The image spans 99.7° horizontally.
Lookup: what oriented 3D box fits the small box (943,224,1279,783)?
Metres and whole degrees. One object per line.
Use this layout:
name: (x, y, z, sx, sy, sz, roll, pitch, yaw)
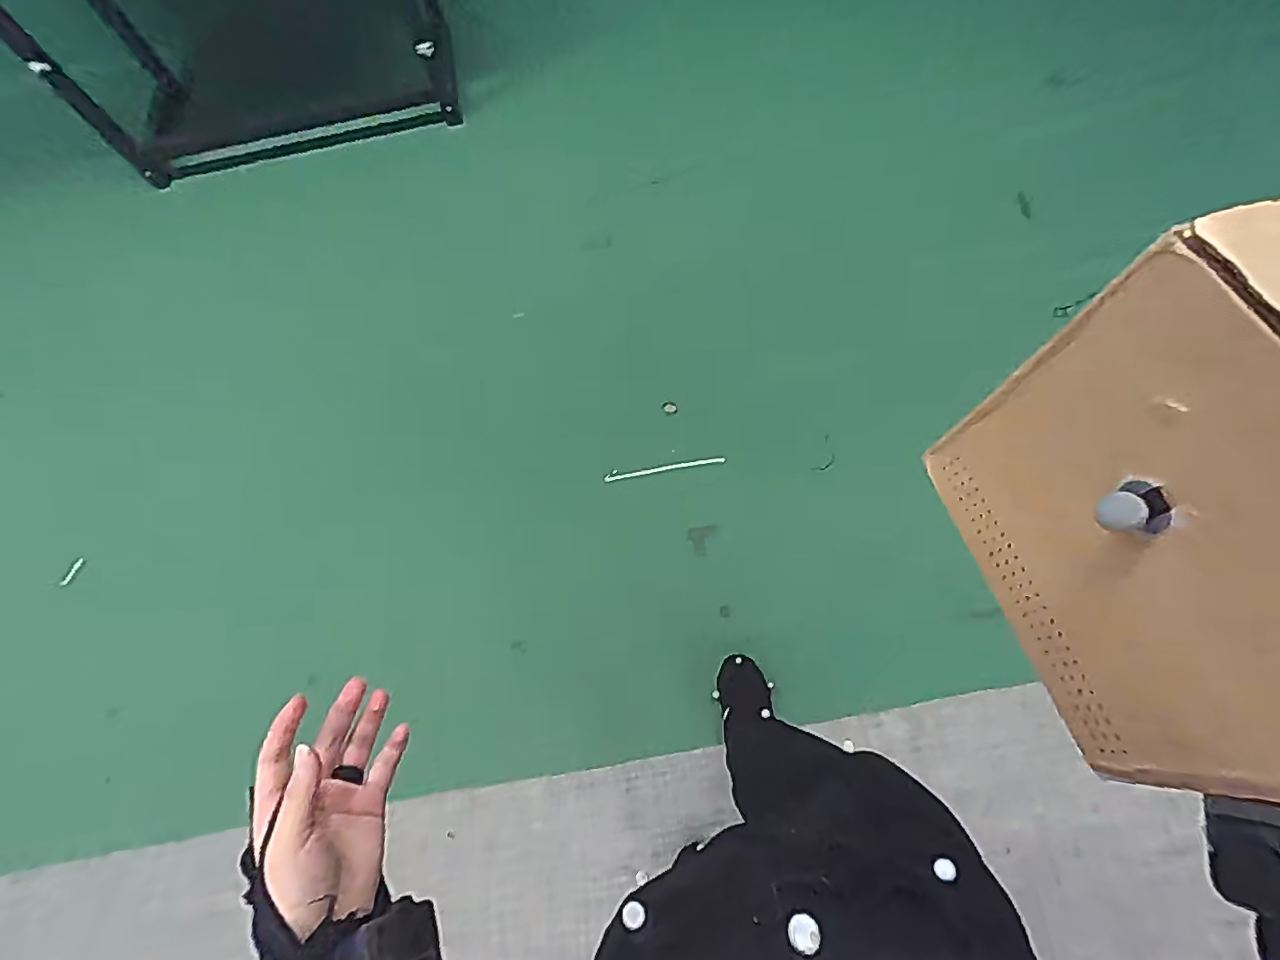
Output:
small box: (0.272, 0.013, 0.227, 0.168, 0.176, 0.179, -15, 66, -6)
